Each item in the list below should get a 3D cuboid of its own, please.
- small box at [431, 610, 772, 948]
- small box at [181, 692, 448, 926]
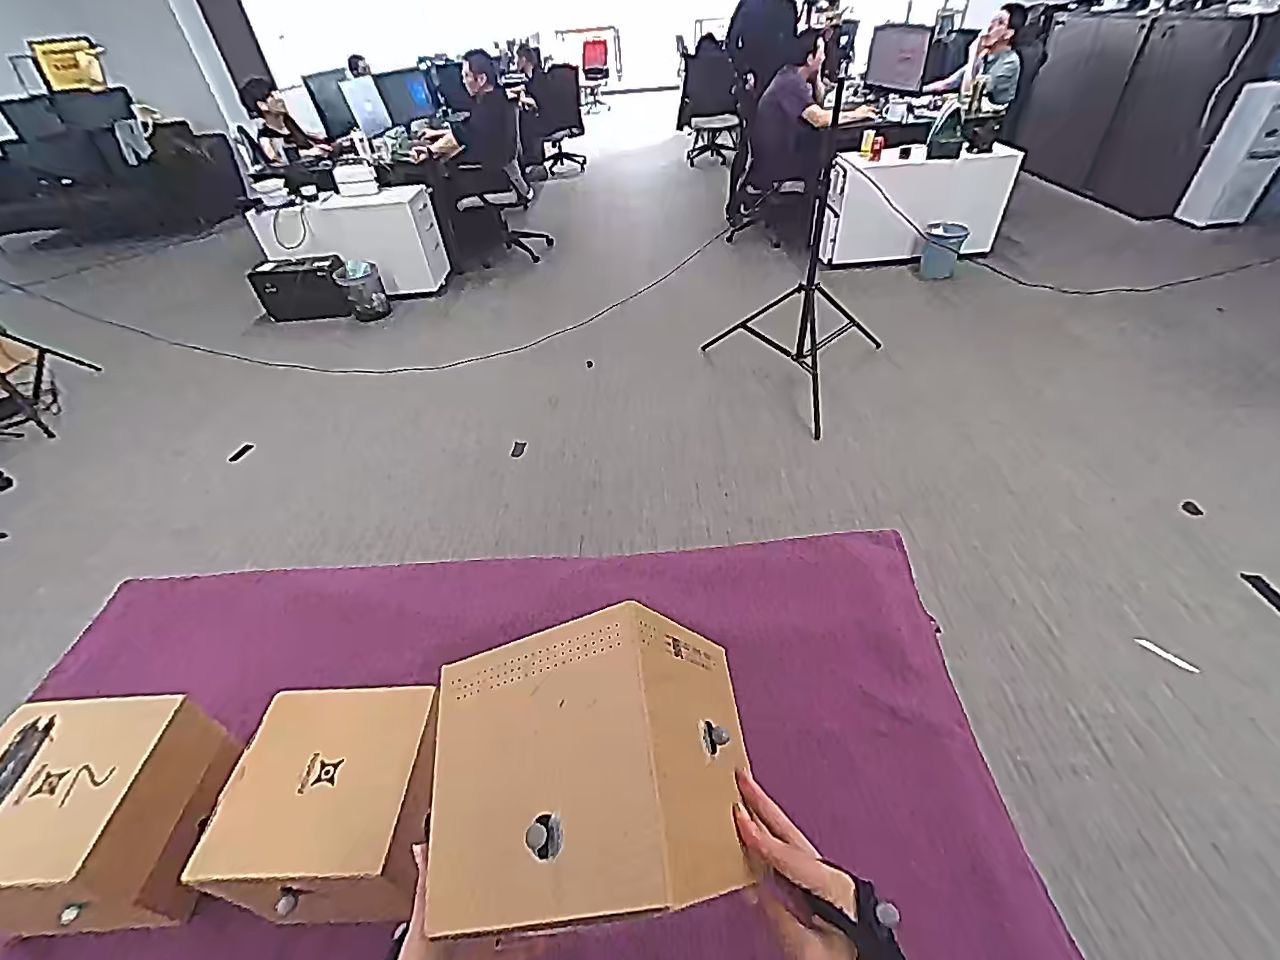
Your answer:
[{"bbox_3d":[-0.029,0.211,0.400,0.179,0.168,0.176,-24,53,20],"label":"small box"},{"bbox_3d":[-0.289,0.336,0.555,0.179,0.176,0.168,-3,41,3],"label":"small box"}]
